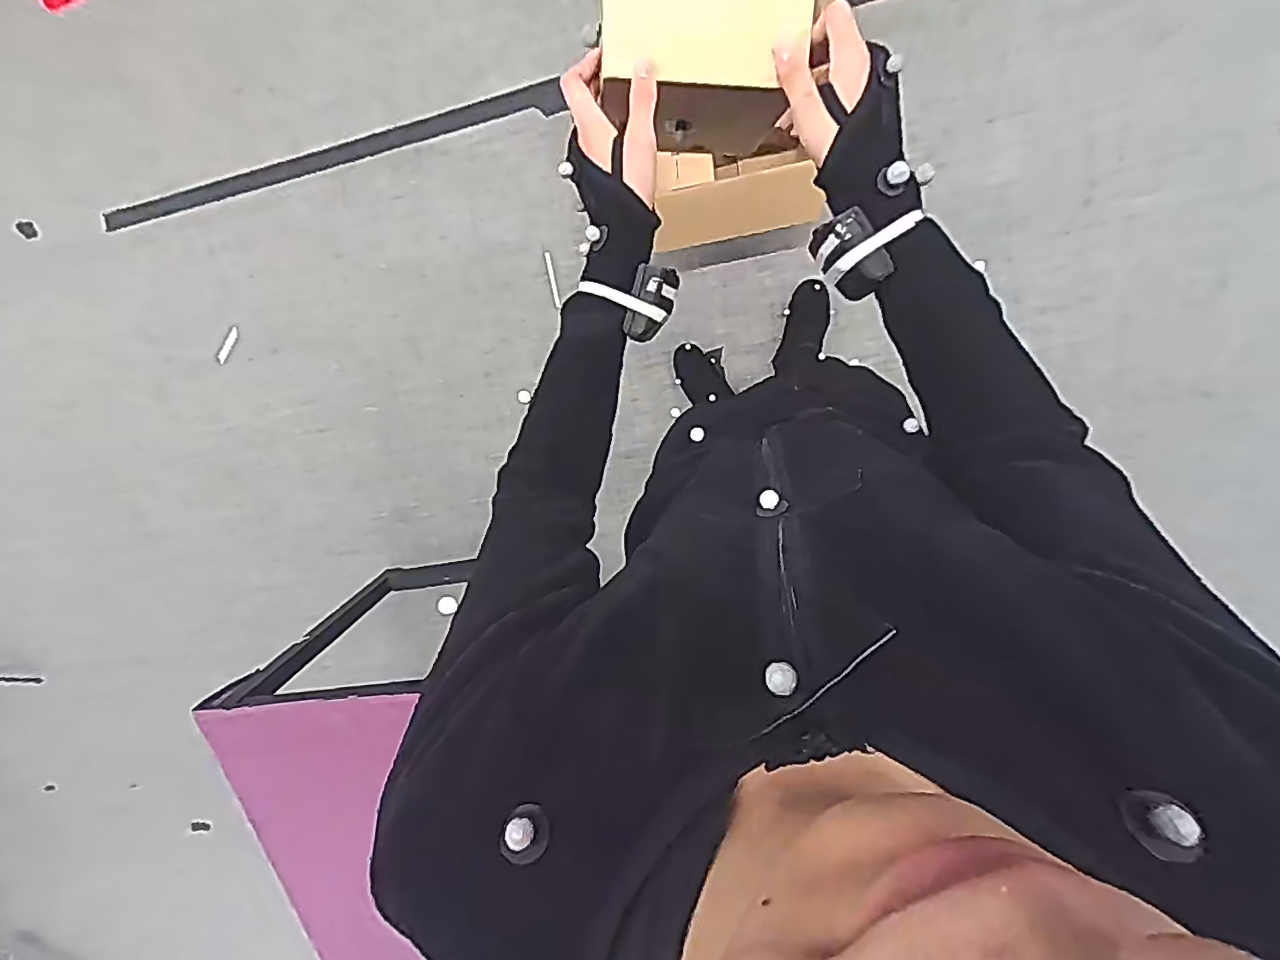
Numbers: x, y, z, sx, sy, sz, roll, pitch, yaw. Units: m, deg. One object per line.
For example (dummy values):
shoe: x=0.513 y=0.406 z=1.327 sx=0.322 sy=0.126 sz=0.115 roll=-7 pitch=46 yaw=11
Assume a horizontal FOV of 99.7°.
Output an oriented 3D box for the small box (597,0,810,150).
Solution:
small box: x=0.047 y=-0.420 z=0.488 sx=0.168 sy=0.176 sz=0.179 roll=0 pitch=105 yaw=-6
